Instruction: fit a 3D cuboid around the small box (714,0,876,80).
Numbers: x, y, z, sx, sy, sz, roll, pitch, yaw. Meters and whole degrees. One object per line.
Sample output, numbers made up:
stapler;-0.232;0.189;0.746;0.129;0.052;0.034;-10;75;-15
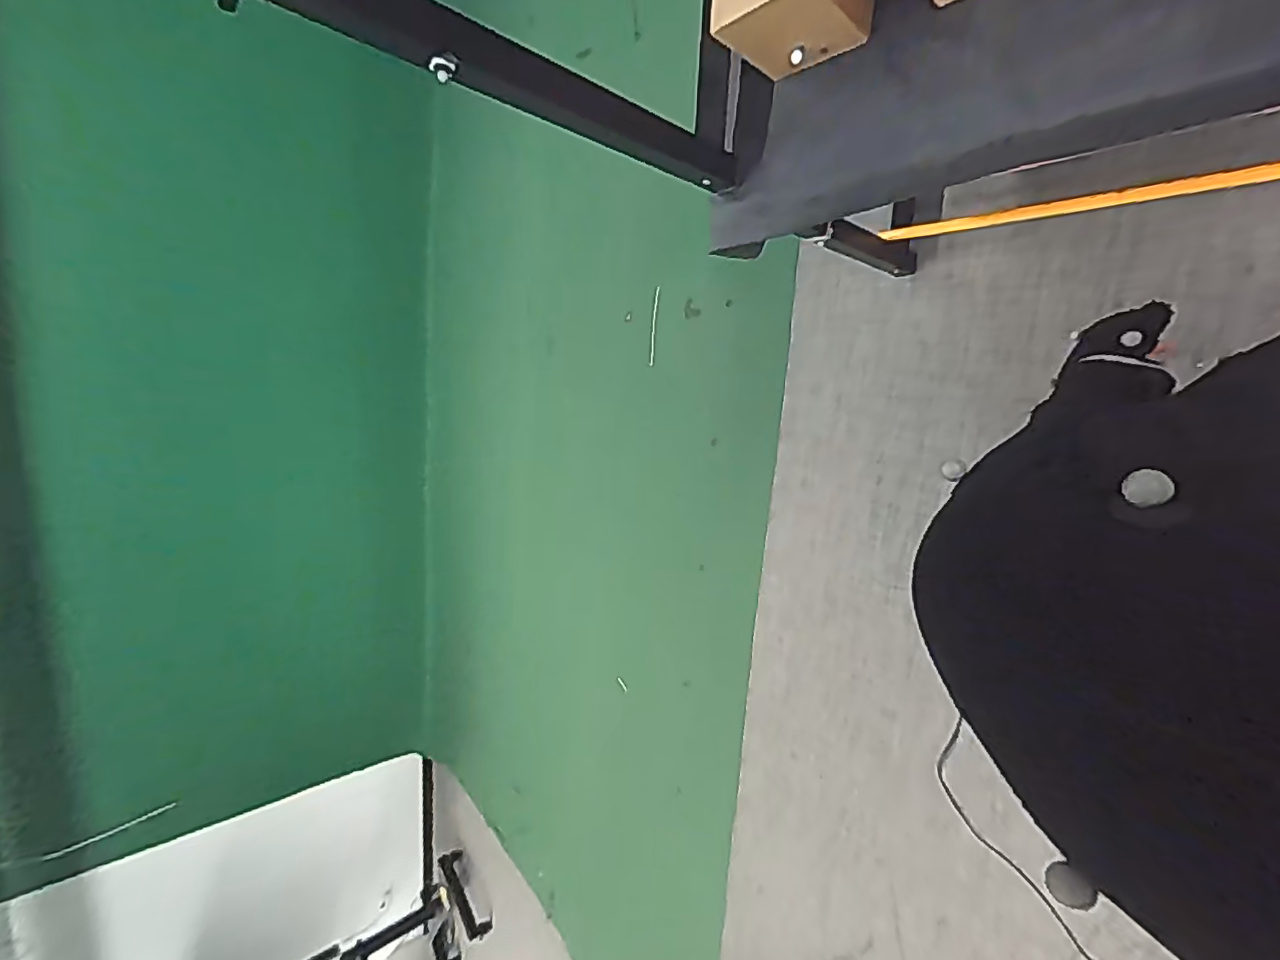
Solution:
small box;0.229;-0.728;0.776;0.168;0.176;0.179;15;105;48
